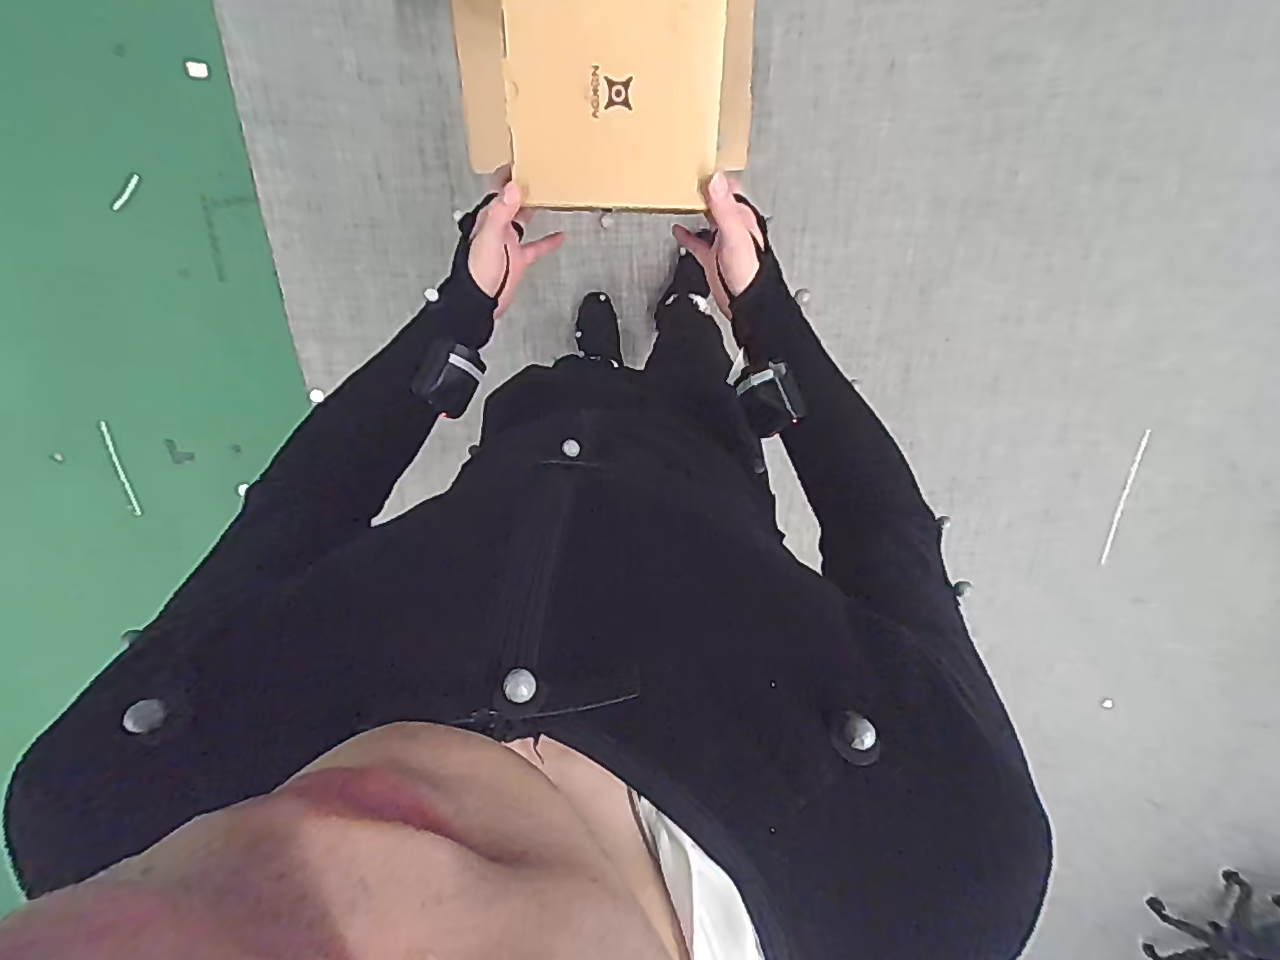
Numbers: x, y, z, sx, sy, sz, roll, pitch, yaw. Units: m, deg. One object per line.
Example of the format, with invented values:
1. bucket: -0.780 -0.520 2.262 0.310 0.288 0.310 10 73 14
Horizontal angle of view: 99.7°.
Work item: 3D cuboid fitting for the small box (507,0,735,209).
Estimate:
1. small box: -0.013 -0.349 0.506 0.179 0.176 0.168 2 116 2
